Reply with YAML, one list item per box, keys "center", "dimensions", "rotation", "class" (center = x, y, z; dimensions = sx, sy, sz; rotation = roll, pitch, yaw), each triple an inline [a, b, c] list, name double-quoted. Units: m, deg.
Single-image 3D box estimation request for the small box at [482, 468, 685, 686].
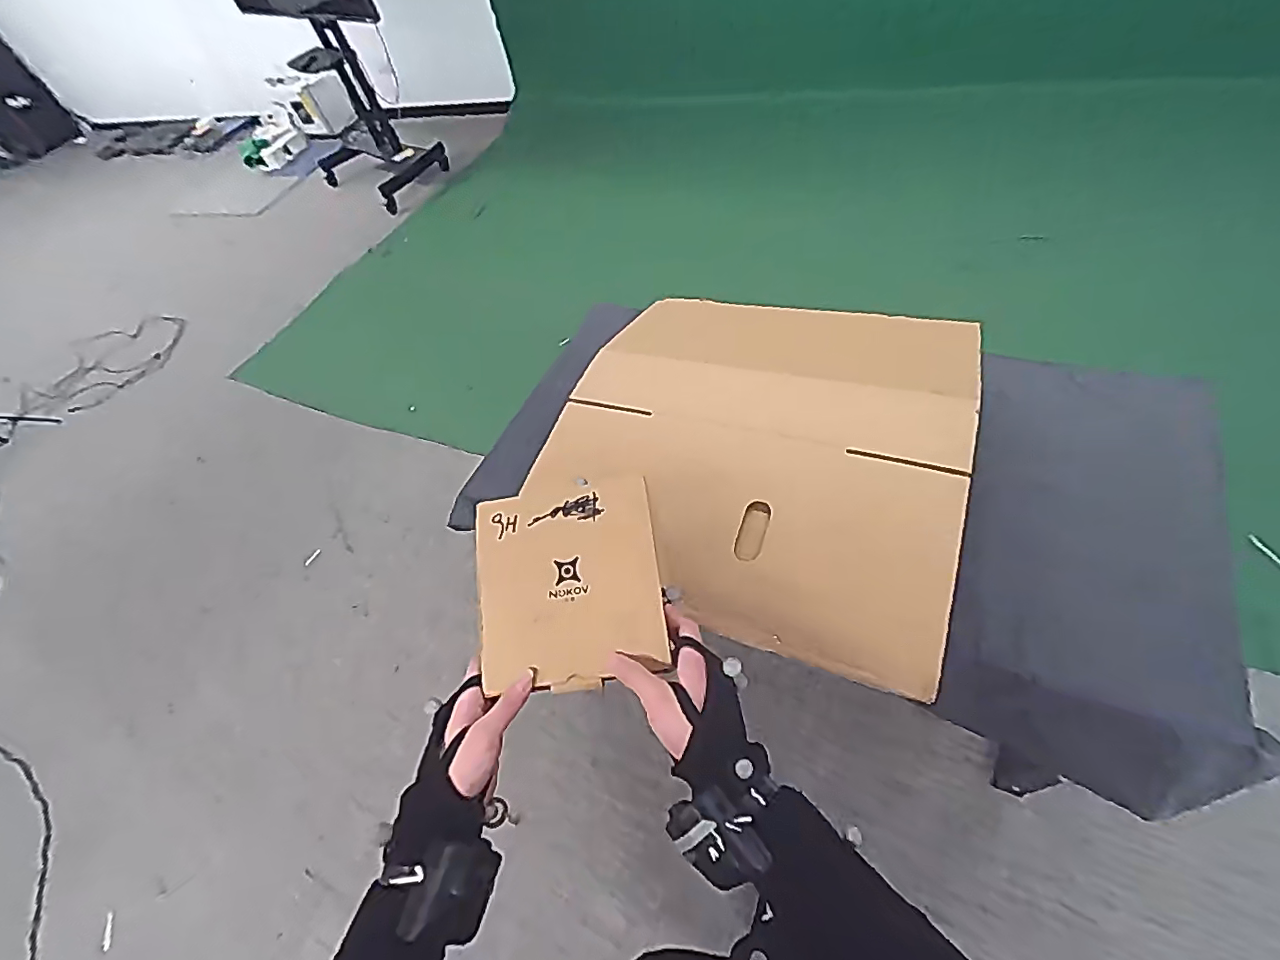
- center: [-0.050, 0.108, 0.567]
  dimensions: [0.168, 0.176, 0.179]
  rotation: [-11, 70, 4]
  class: "small box"
